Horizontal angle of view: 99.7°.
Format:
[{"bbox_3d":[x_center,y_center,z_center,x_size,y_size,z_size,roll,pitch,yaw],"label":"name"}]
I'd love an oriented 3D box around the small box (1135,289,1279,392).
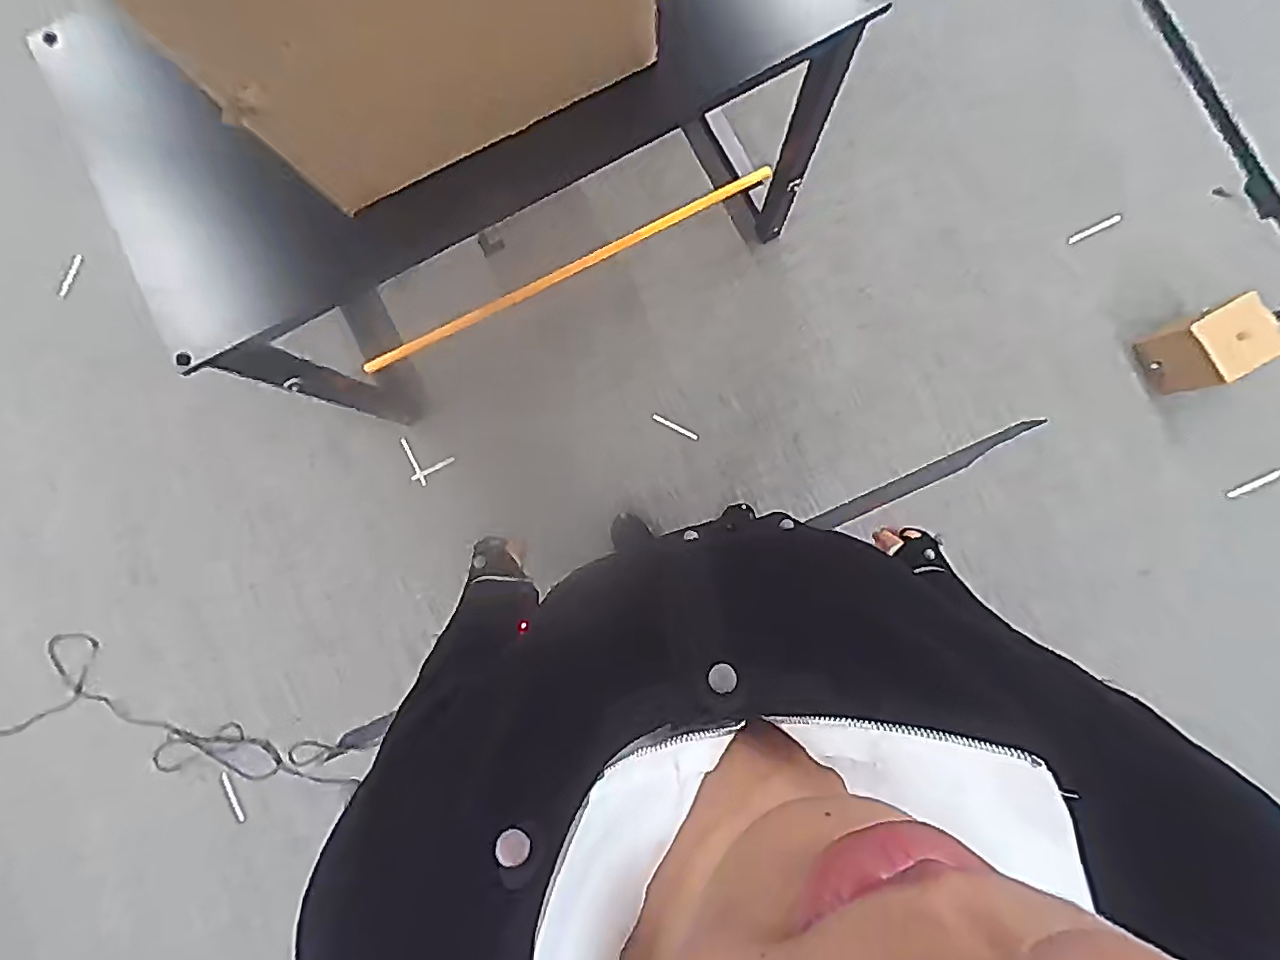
[{"bbox_3d":[1.440,-0.347,1.376,0.179,0.176,0.168,-31,86,3],"label":"small box"}]
